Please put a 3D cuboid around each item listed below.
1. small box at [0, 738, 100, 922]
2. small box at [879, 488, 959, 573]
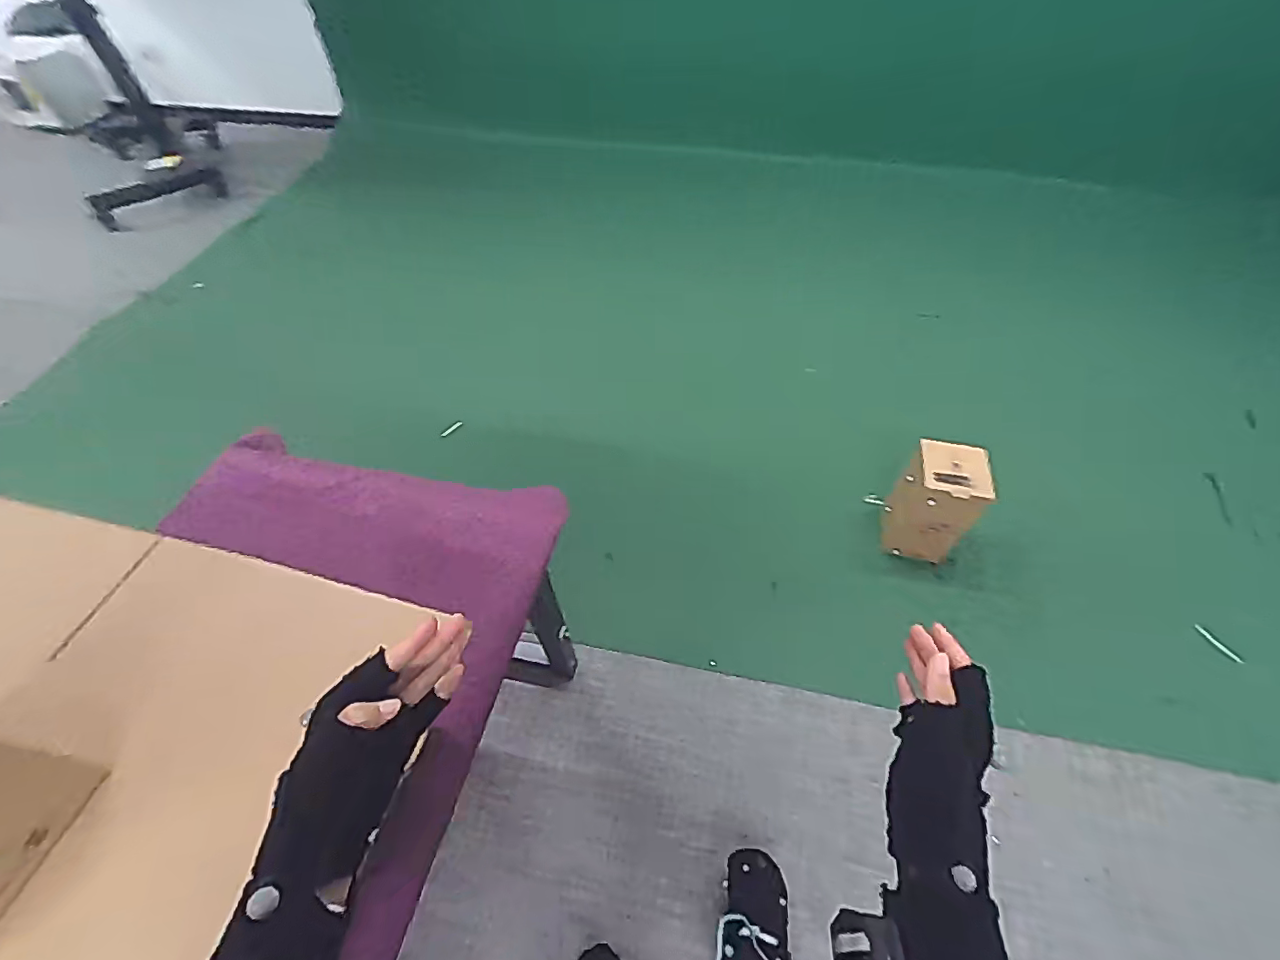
[{"bbox_3d":[-0.594,0.273,0.402,0.179,0.176,0.168,10,54,10],"label":"small box"},{"bbox_3d":[0.827,0.155,1.618,0.168,0.176,0.179,11,52,9],"label":"small box"}]
